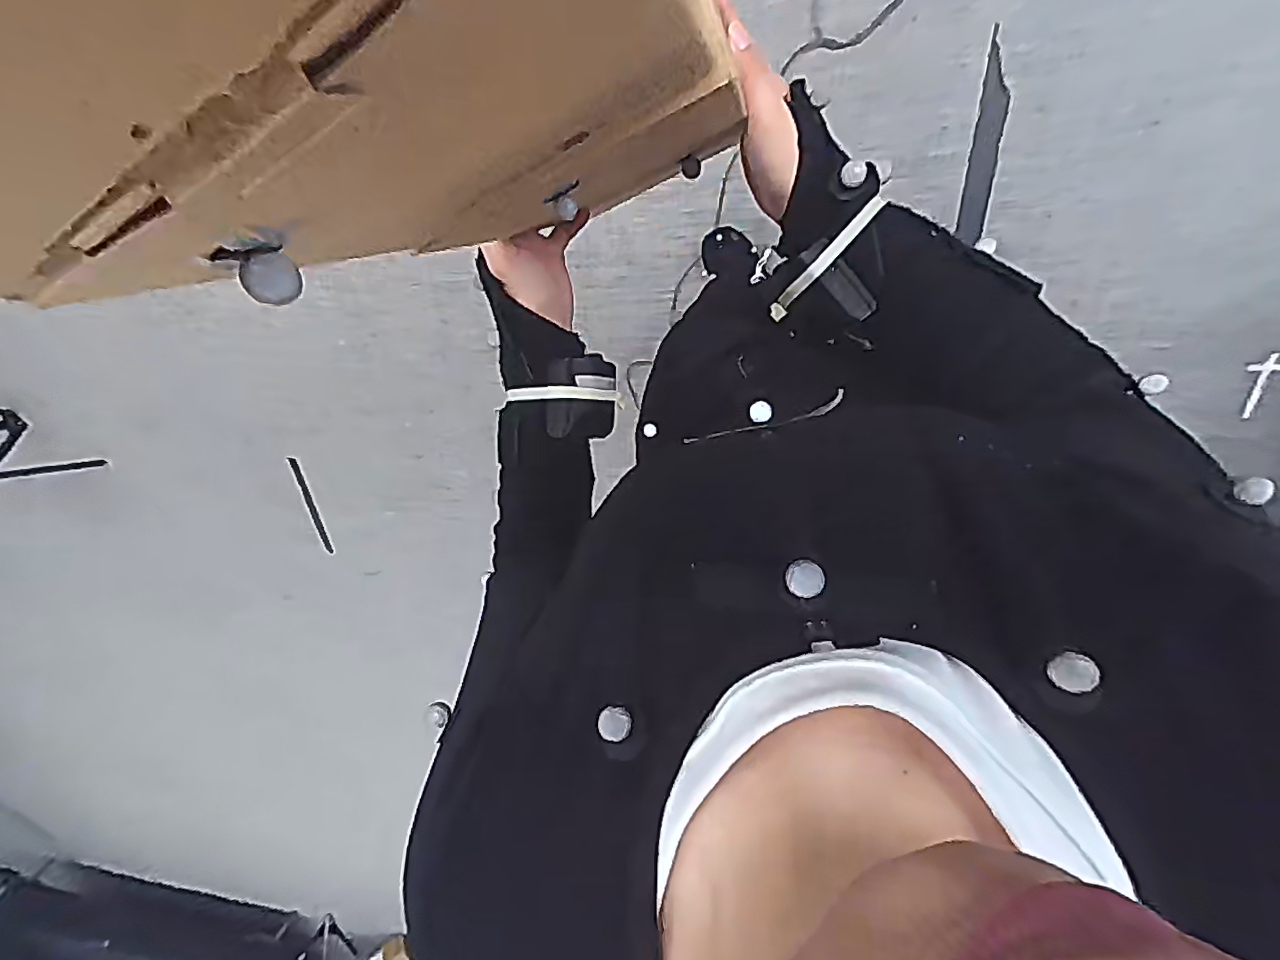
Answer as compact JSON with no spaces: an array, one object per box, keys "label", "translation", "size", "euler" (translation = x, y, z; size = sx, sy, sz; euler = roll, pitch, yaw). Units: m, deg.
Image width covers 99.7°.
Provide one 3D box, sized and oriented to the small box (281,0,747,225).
[{"label":"small box","translation":[-0.053,-0.249,0.274],"size":[0.179,0.176,0.168],"euler":[-16,113,20]}]
